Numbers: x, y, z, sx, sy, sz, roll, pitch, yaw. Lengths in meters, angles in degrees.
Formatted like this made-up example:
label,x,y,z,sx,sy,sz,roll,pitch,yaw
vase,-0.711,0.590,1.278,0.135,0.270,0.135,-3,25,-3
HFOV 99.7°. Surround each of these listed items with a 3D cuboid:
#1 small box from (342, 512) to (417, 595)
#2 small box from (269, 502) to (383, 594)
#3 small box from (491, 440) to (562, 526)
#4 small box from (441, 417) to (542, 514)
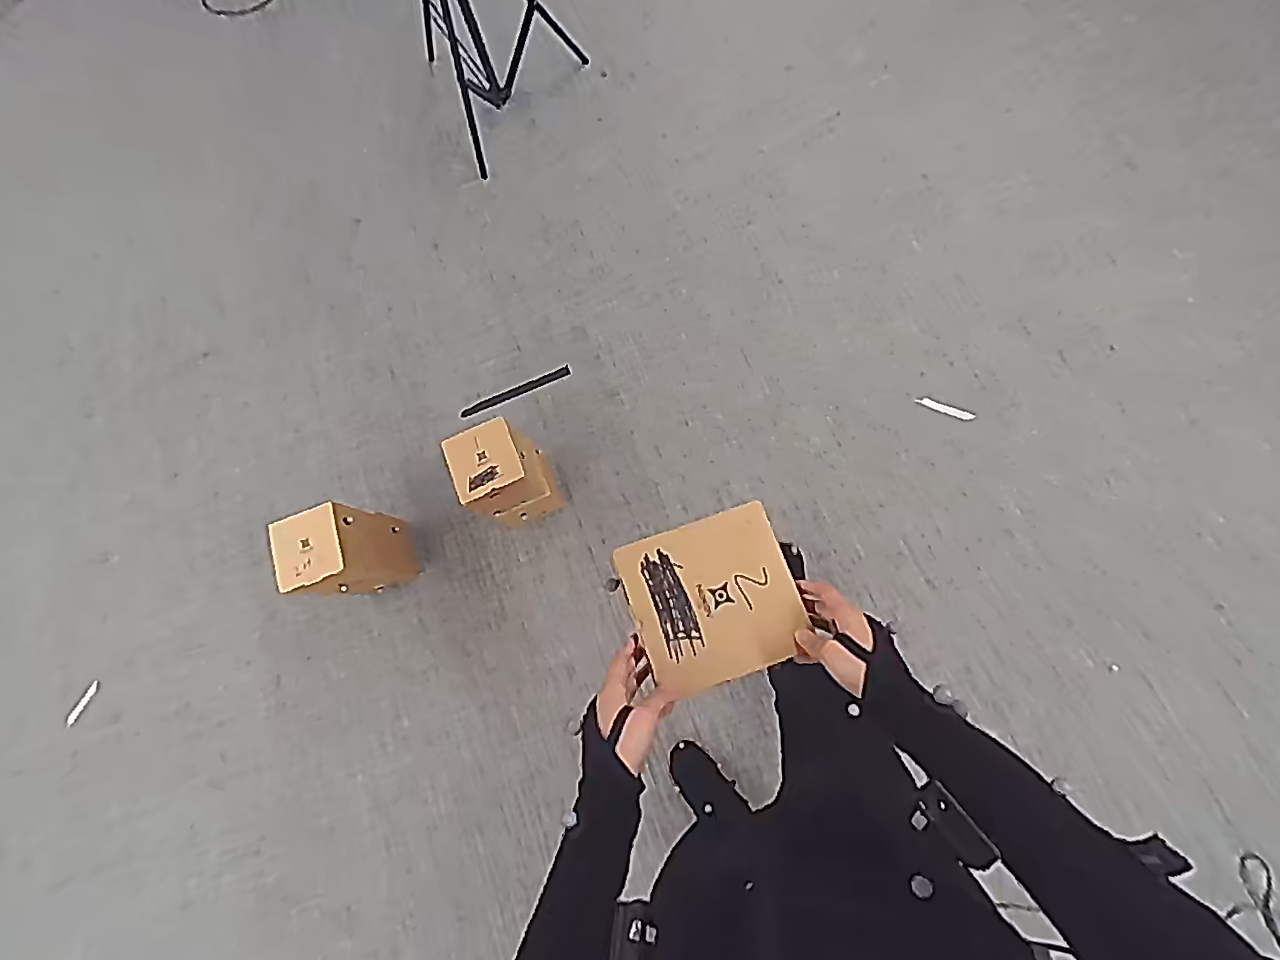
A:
label,x,y,z,sx,sy,sz,roll,pitch,yaw
small box,-0.748,0.209,1.498,0.168,0.176,0.179,-20,74,2
small box,-0.771,0.175,1.339,0.168,0.176,0.179,-20,75,2
small box,-0.334,0.017,1.506,0.168,0.176,0.179,-24,73,-1
small box,-0.363,-0.026,1.350,0.168,0.176,0.179,-24,73,-1
